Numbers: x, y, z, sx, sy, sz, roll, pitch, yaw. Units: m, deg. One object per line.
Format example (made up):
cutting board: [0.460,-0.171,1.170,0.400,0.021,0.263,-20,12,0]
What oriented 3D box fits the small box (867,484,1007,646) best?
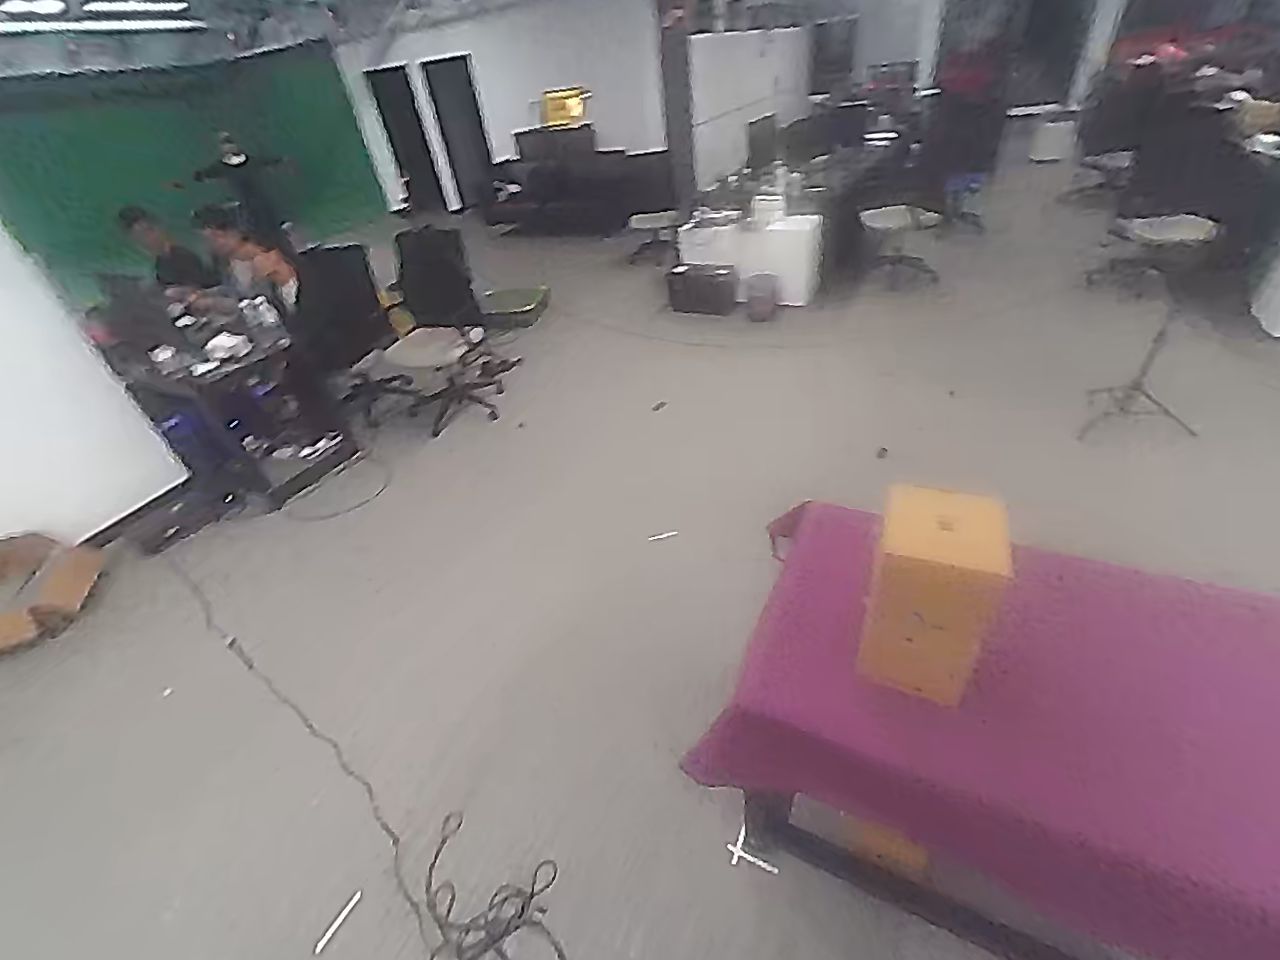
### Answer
small box: [0.475,0.135,0.881,0.168,0.176,0.179,10,41,23]

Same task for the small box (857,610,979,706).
small box: [0.497,0.266,0.976,0.168,0.176,0.179,11,41,24]
